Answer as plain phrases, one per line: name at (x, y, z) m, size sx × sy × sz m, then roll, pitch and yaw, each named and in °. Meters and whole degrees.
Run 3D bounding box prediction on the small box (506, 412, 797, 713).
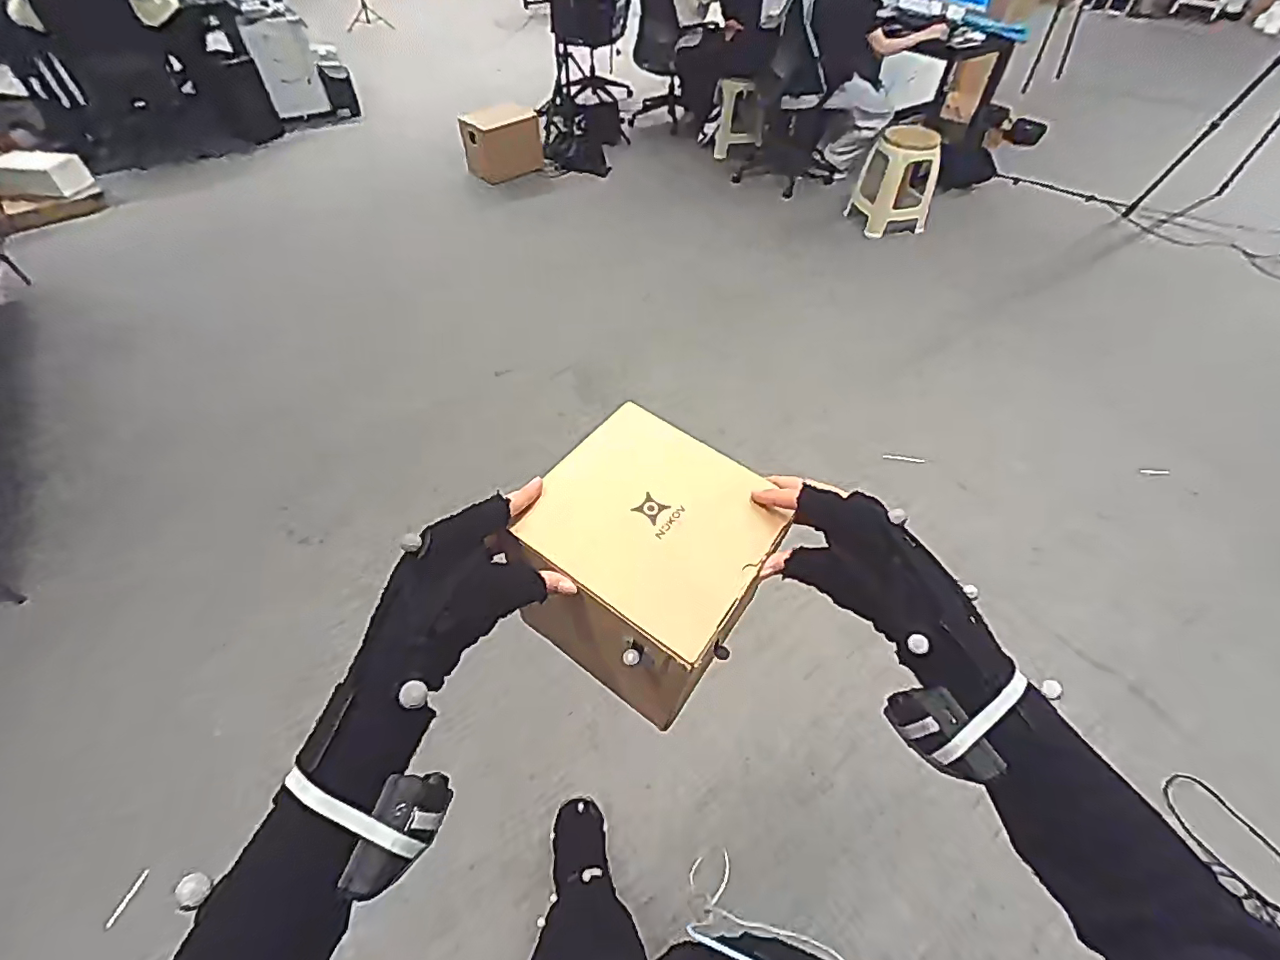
small box at (0.005, 0.078, 0.486) m, size 0.179 × 0.176 × 0.168 m, roll 33°, pitch 56°, yaw 17°
